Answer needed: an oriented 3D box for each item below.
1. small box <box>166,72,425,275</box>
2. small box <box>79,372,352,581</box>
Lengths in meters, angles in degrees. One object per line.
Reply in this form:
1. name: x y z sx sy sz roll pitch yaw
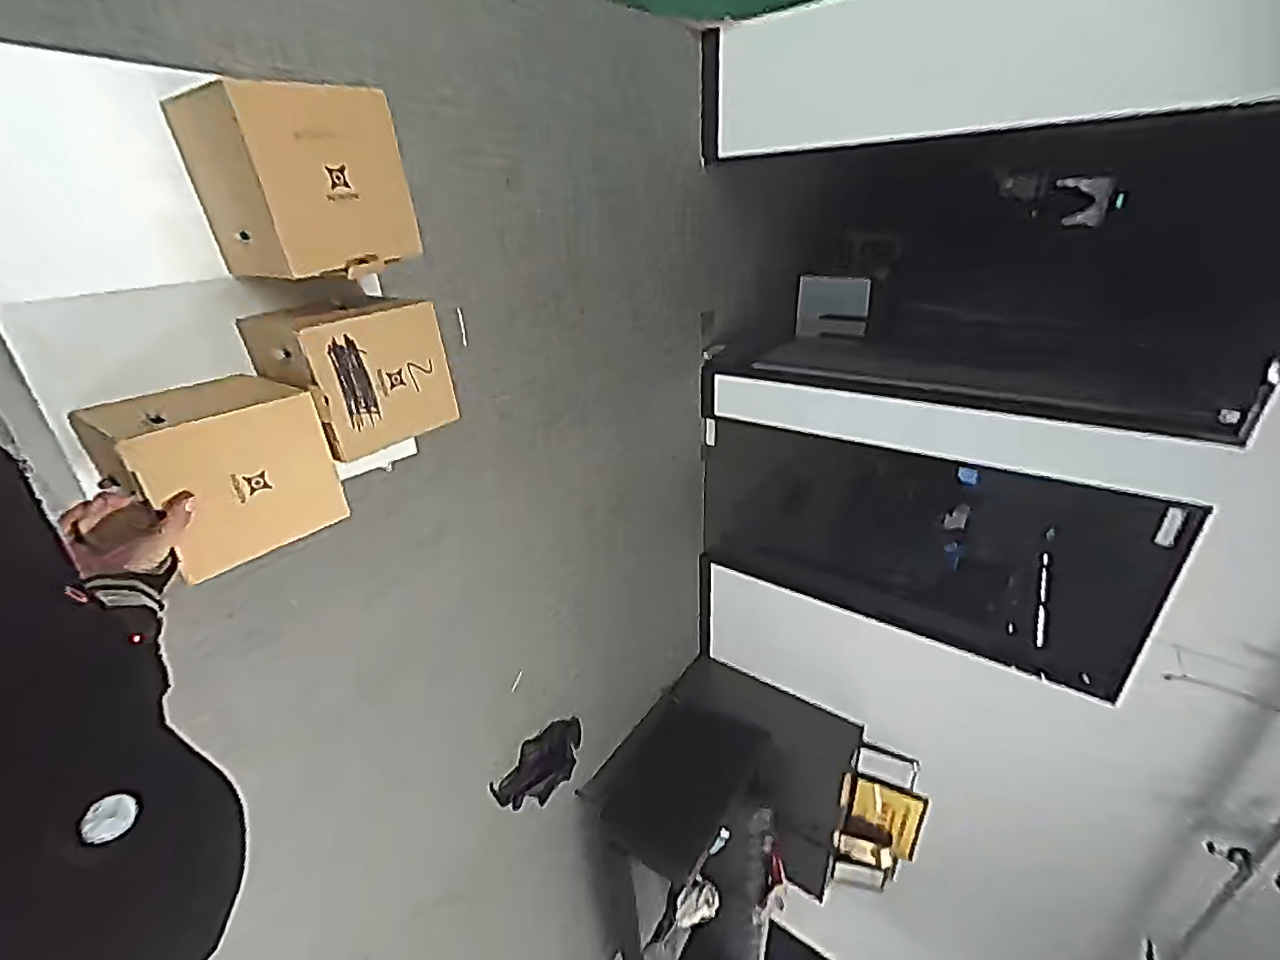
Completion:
1. small box: -0.386 -0.344 0.621 0.168 0.176 0.179 -38 134 -44
2. small box: -0.478 -0.019 0.624 0.179 0.176 0.168 -34 131 -46
